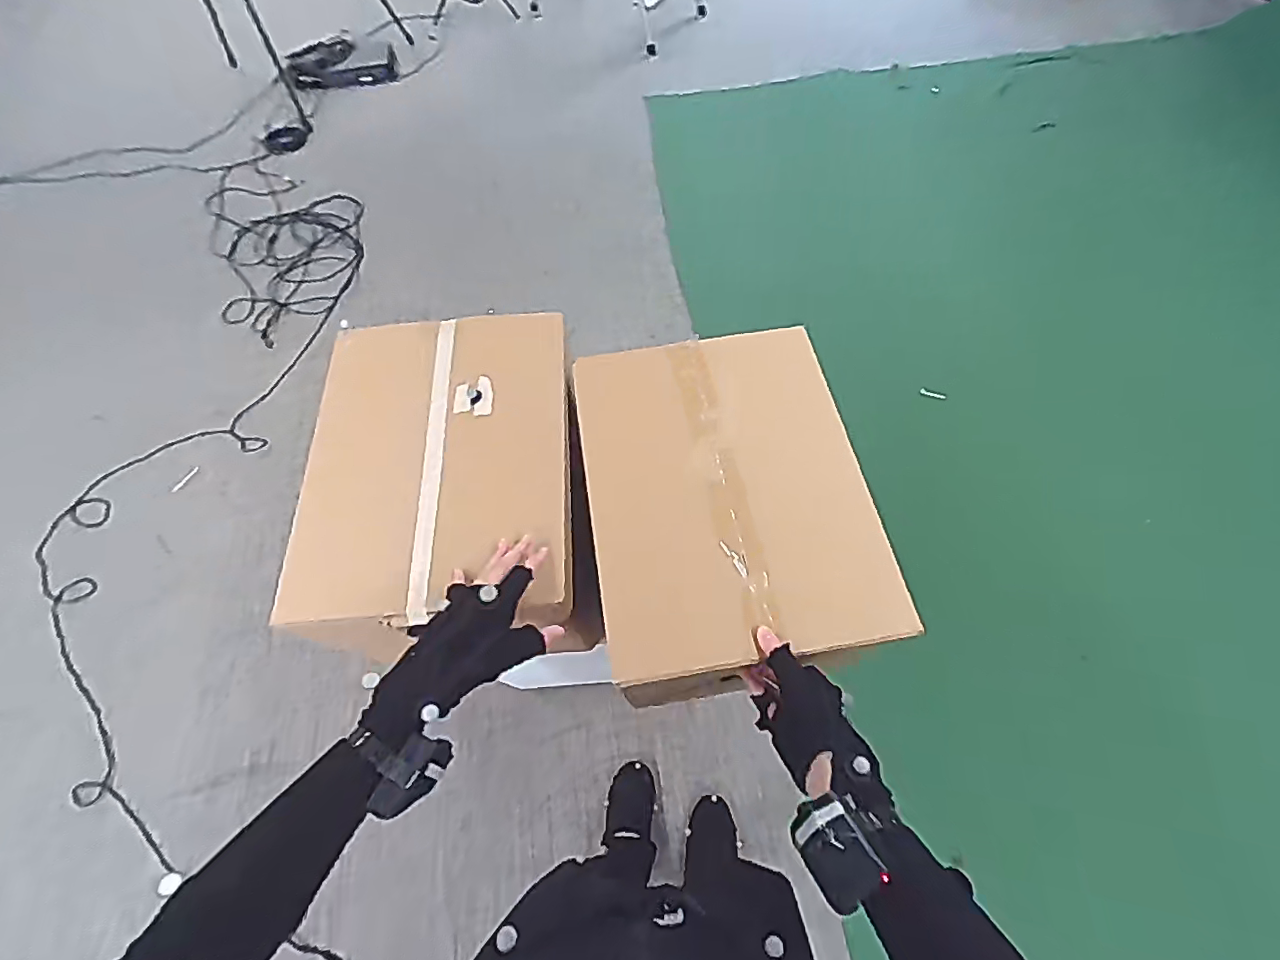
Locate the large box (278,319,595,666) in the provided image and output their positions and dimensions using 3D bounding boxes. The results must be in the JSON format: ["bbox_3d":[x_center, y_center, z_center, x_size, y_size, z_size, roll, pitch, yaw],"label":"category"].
[{"bbox_3d":[-0.244,0.032,0.795,0.320,0.320,0.408,-4,62,0],"label":"large box"}]
